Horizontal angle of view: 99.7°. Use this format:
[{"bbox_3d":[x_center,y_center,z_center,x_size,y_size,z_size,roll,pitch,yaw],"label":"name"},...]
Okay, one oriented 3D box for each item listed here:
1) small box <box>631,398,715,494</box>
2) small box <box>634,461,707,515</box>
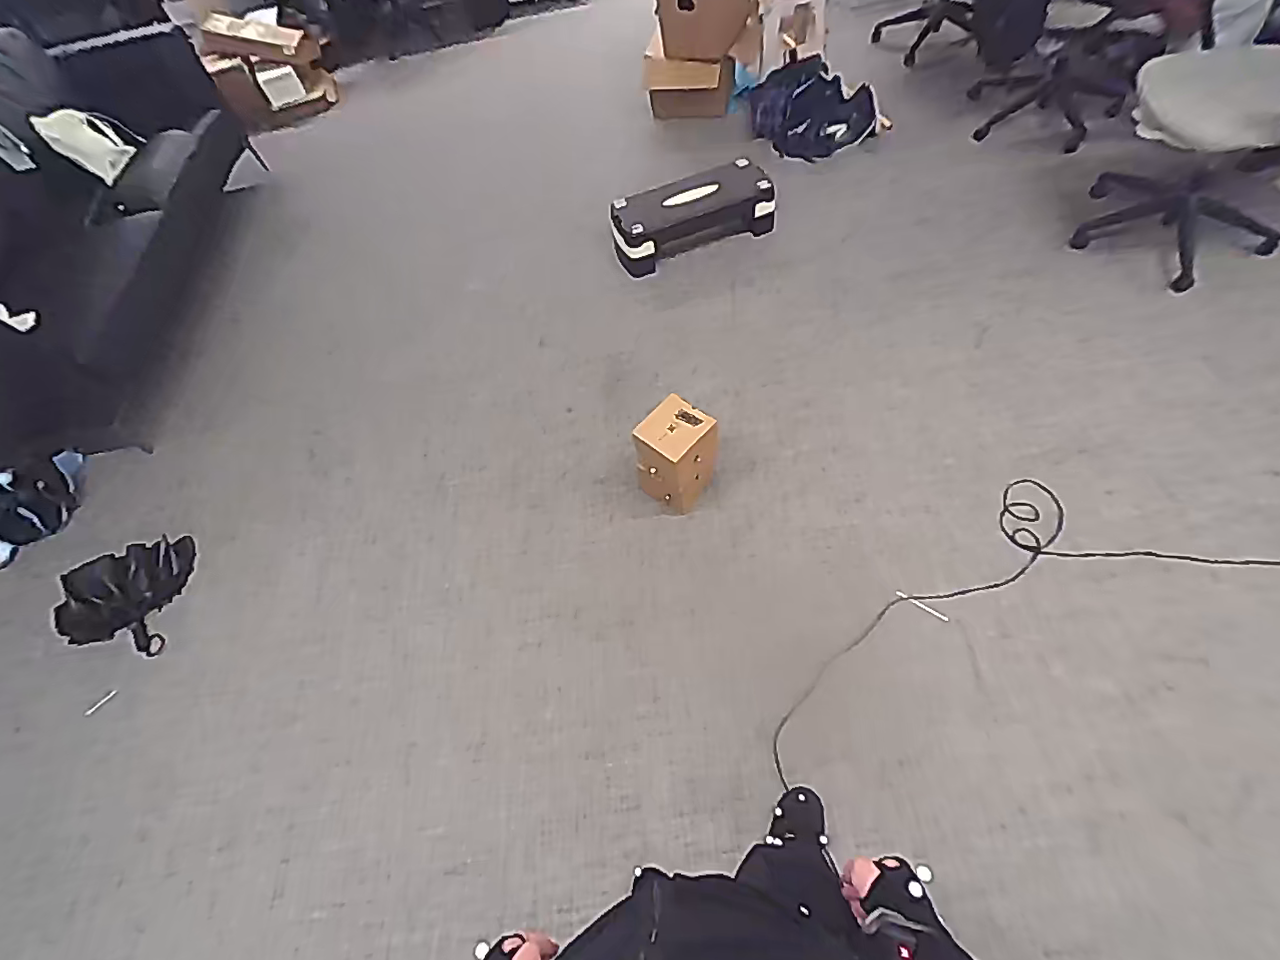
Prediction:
[{"bbox_3d":[0.097,-0.095,1.553,0.168,0.176,0.179,37,71,26],"label":"small box"},{"bbox_3d":[0.104,-0.020,1.700,0.168,0.176,0.179,29,66,23],"label":"small box"}]
